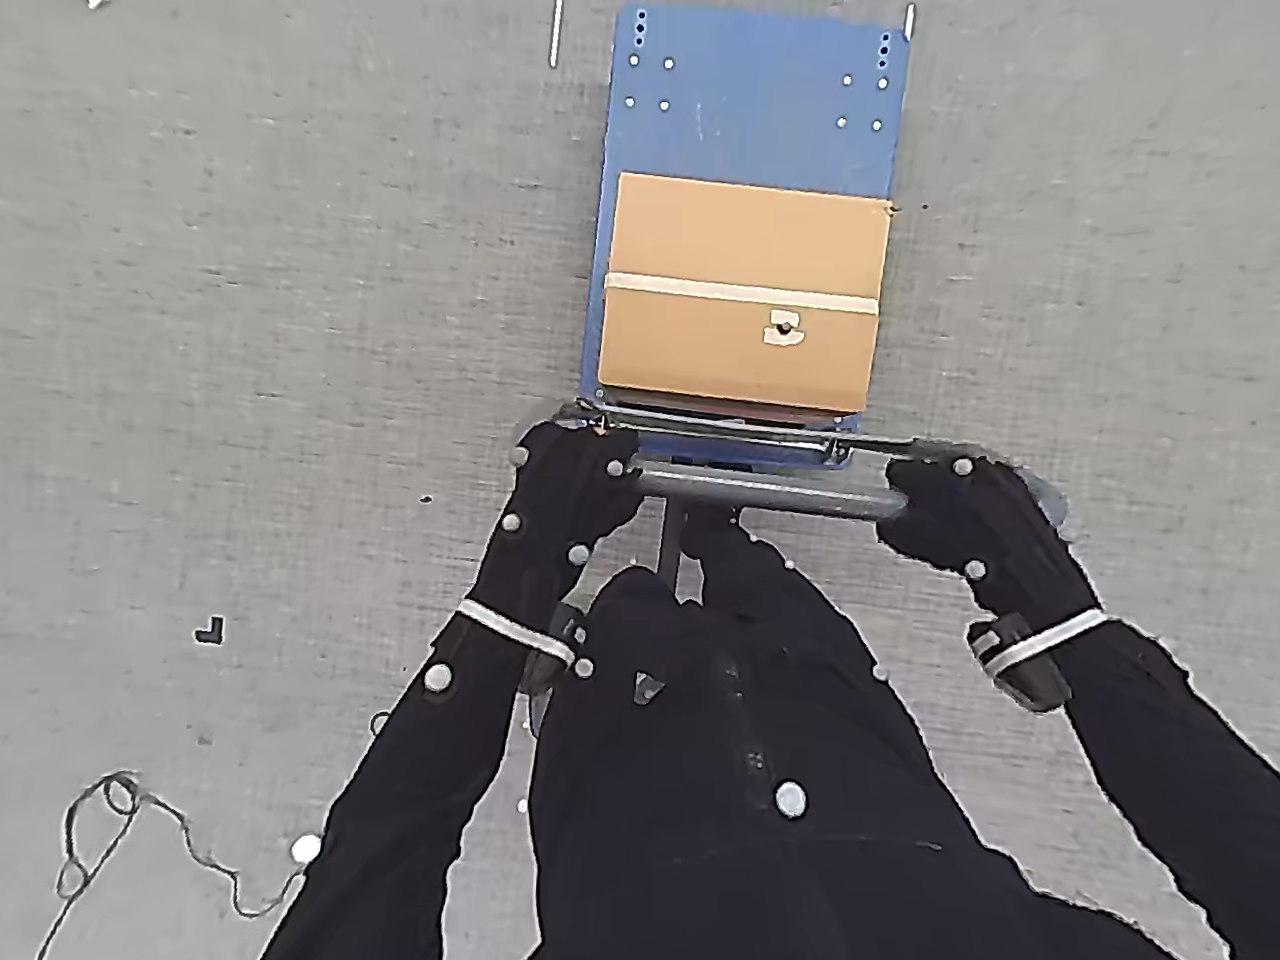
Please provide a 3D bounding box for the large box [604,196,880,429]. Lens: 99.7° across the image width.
[{"bbox_3d":[0.154,-0.270,0.976,0.408,0.320,0.320,6,93,1],"label":"large box"}]
